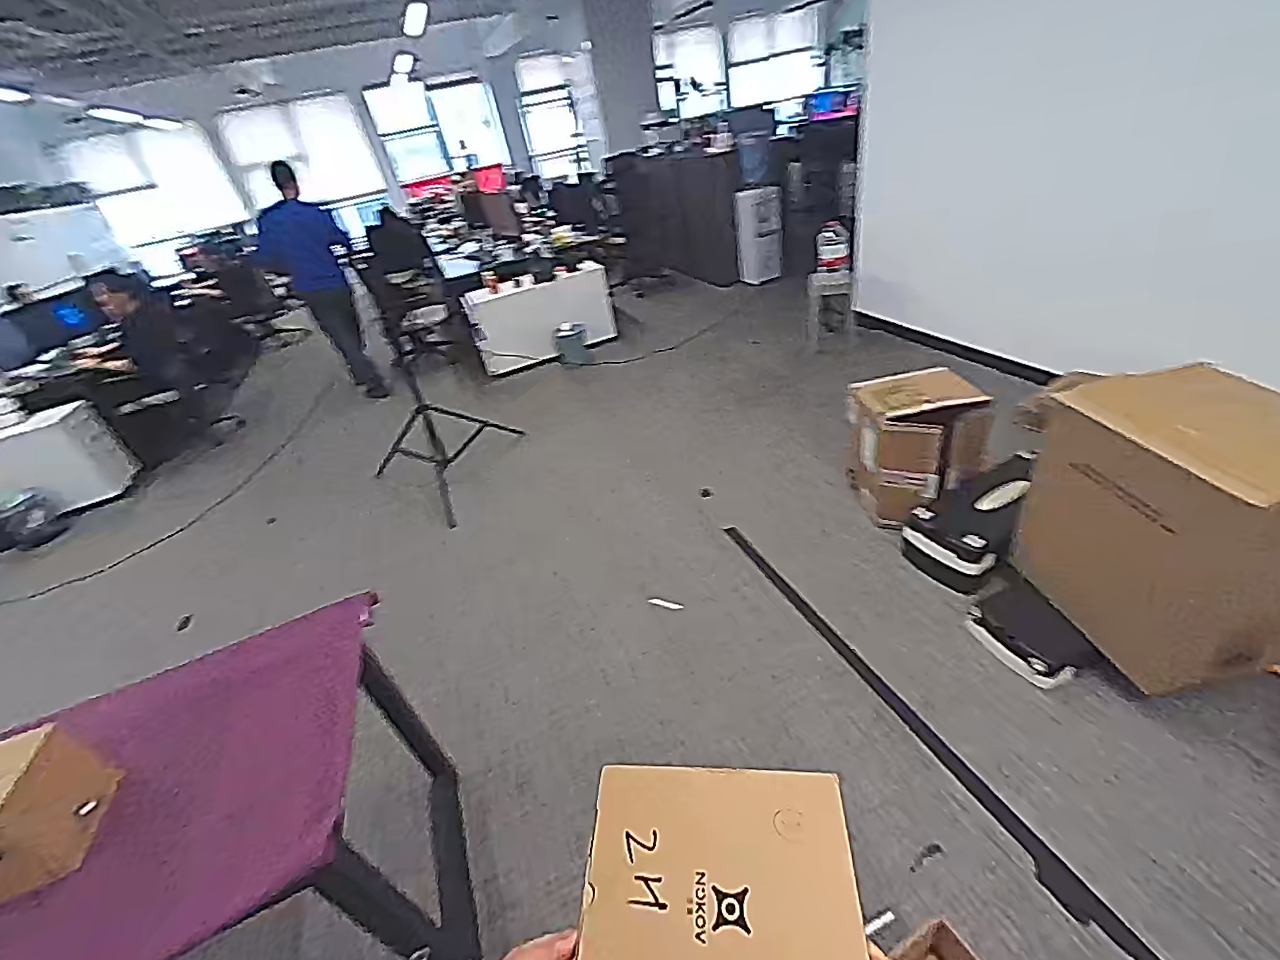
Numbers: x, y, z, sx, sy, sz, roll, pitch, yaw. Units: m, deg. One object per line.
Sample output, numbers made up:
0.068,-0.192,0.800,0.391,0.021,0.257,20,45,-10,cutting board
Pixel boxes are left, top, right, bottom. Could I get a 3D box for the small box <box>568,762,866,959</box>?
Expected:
0.056,0.324,0.385,0.179,0.176,0.168,-3,39,9,small box
